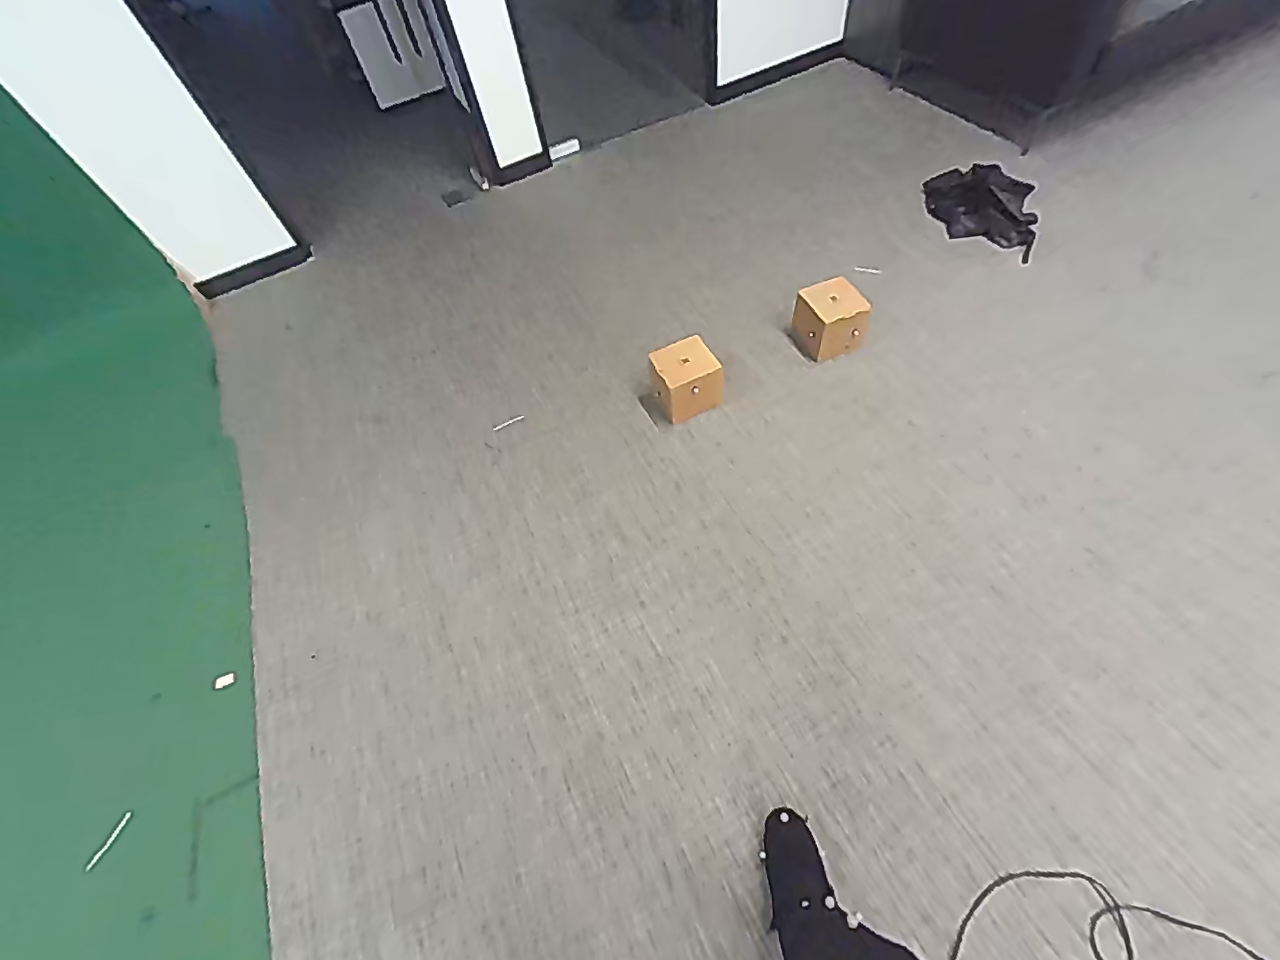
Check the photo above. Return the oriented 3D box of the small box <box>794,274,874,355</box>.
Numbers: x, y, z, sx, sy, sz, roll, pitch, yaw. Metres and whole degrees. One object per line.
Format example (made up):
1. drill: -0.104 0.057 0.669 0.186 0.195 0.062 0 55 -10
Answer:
1. small box: 0.622 -0.530 1.756 0.168 0.176 0.179 -20 56 -7

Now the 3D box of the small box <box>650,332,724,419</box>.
1. small box: 0.146 -0.324 1.687 0.179 0.176 0.168 -24 58 -8
